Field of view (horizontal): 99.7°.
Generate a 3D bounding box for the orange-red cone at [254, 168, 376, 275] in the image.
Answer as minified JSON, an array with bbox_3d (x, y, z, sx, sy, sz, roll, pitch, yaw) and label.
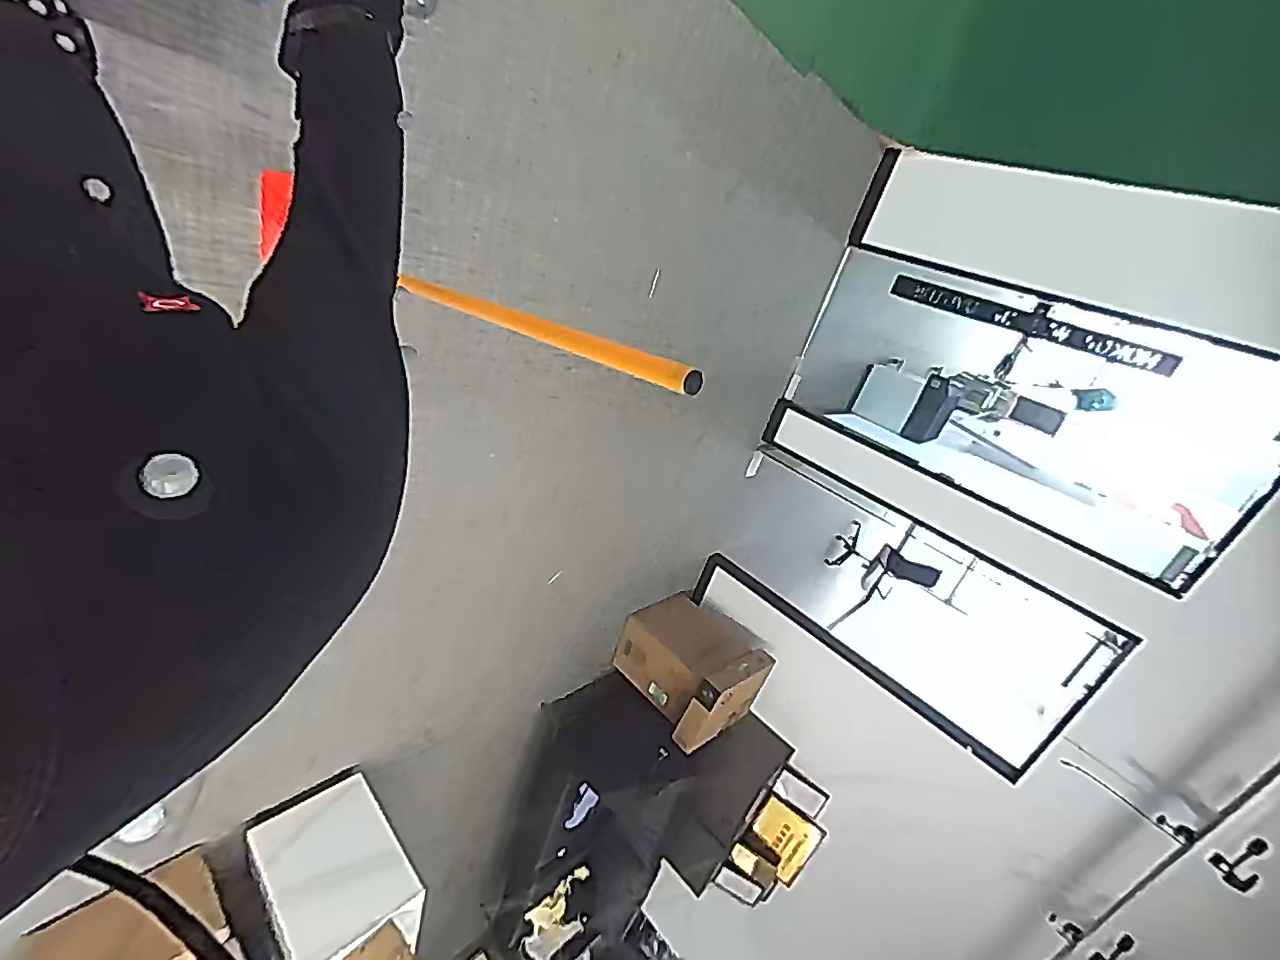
[{"bbox_3d":[-0.647,-0.499,1.138,0.199,0.360,0.198,-7,124,-47],"label":"orange-red cone"}]
